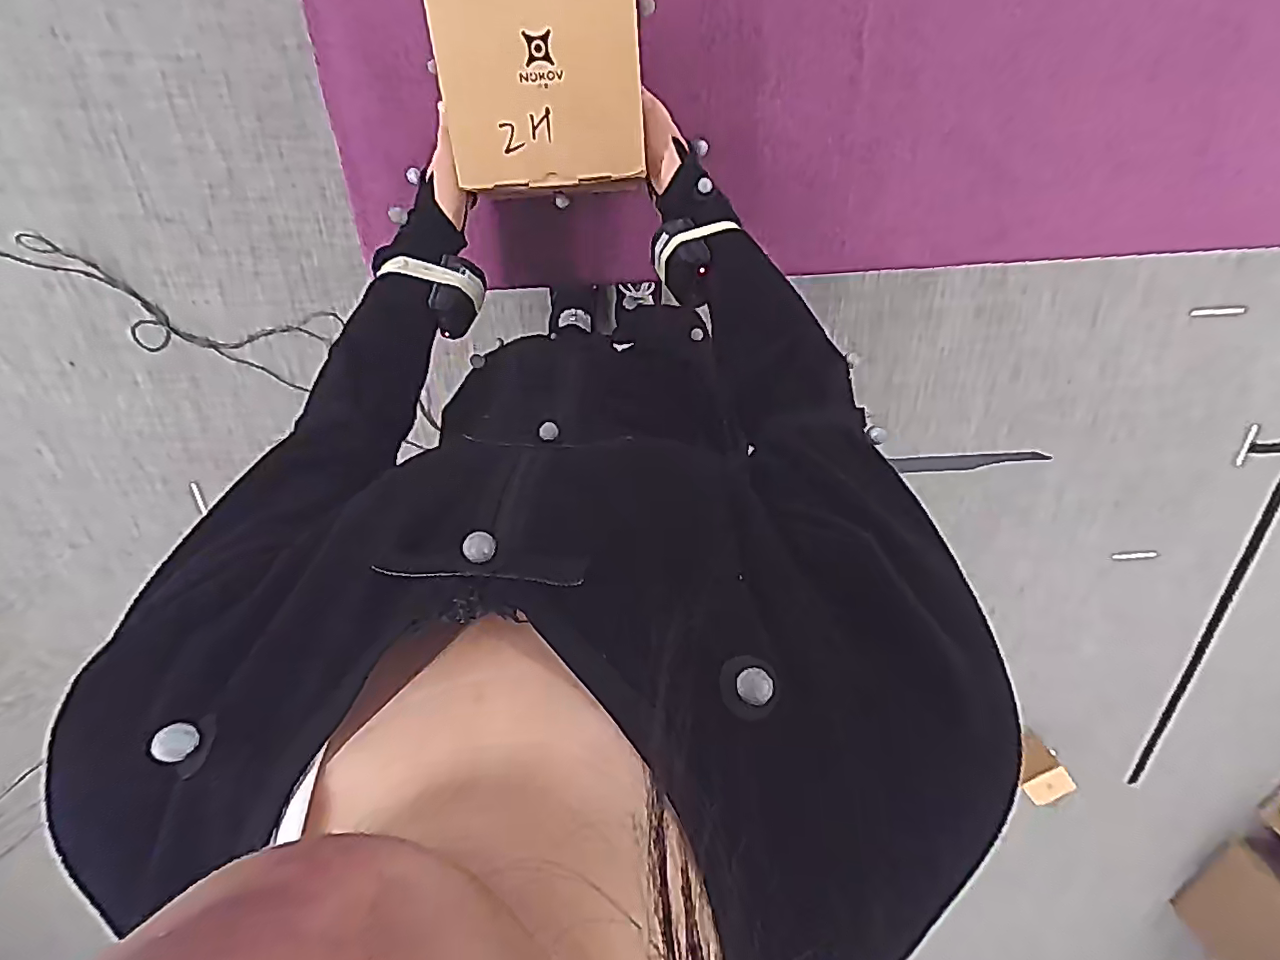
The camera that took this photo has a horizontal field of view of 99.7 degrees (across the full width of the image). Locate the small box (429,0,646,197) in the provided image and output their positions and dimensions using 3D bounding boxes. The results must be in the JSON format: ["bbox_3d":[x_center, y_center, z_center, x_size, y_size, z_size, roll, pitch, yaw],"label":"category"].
[{"bbox_3d":[-0.085,-0.373,0.506,0.168,0.176,0.179,-5,116,-1],"label":"small box"}]

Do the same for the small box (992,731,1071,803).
[{"bbox_3d":[1.550,1.134,2.150,0.168,0.176,0.179,-38,113,14],"label":"small box"}]
